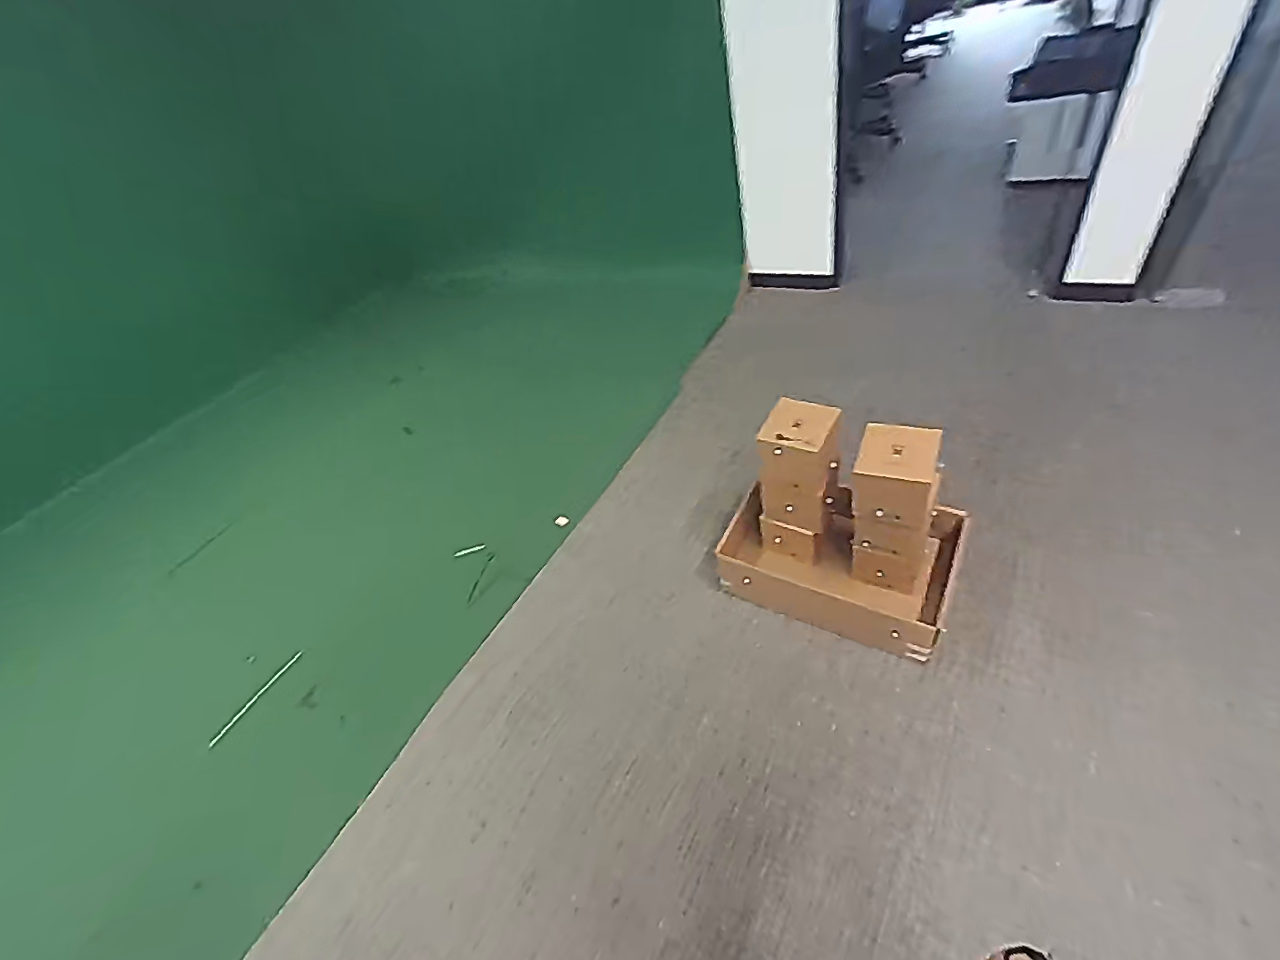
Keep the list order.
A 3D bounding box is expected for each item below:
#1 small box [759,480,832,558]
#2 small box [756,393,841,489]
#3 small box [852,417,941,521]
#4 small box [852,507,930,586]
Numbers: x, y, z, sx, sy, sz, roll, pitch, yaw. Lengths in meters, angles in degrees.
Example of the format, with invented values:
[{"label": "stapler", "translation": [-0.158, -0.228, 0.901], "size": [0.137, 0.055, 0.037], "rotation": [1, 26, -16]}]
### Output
[{"label": "small box", "translation": [0.492, 0.115, 1.693], "size": [0.168, 0.176, 0.179], "rotation": [19, 56, 31]}, {"label": "small box", "translation": [0.427, -0.106, 1.457], "size": [0.168, 0.176, 0.179], "rotation": [17, 54, 32]}, {"label": "small box", "translation": [0.620, -0.028, 1.319], "size": [0.168, 0.176, 0.179], "rotation": [11, 53, 28]}, {"label": "small box", "translation": [0.719, 0.177, 1.556], "size": [0.168, 0.176, 0.179], "rotation": [15, 54, 30]}]
